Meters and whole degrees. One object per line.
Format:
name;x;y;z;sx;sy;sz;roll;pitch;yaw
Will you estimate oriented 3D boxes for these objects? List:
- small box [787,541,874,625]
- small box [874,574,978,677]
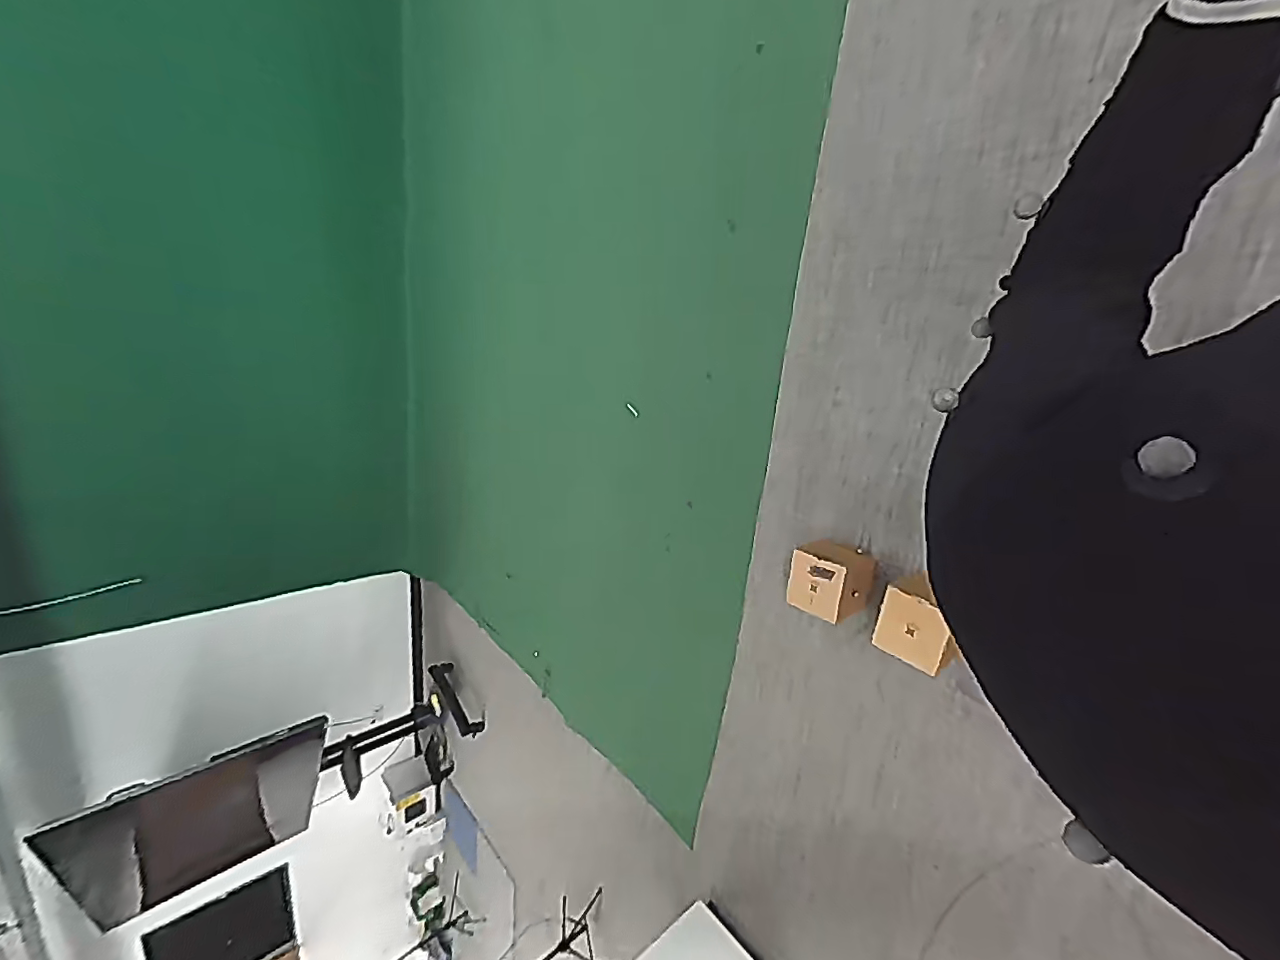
small box;0.558;0.290;1.576;0.168;0.176;0.179;20;111;45
small box;0.735;0.364;1.387;0.168;0.176;0.179;25;113;44
